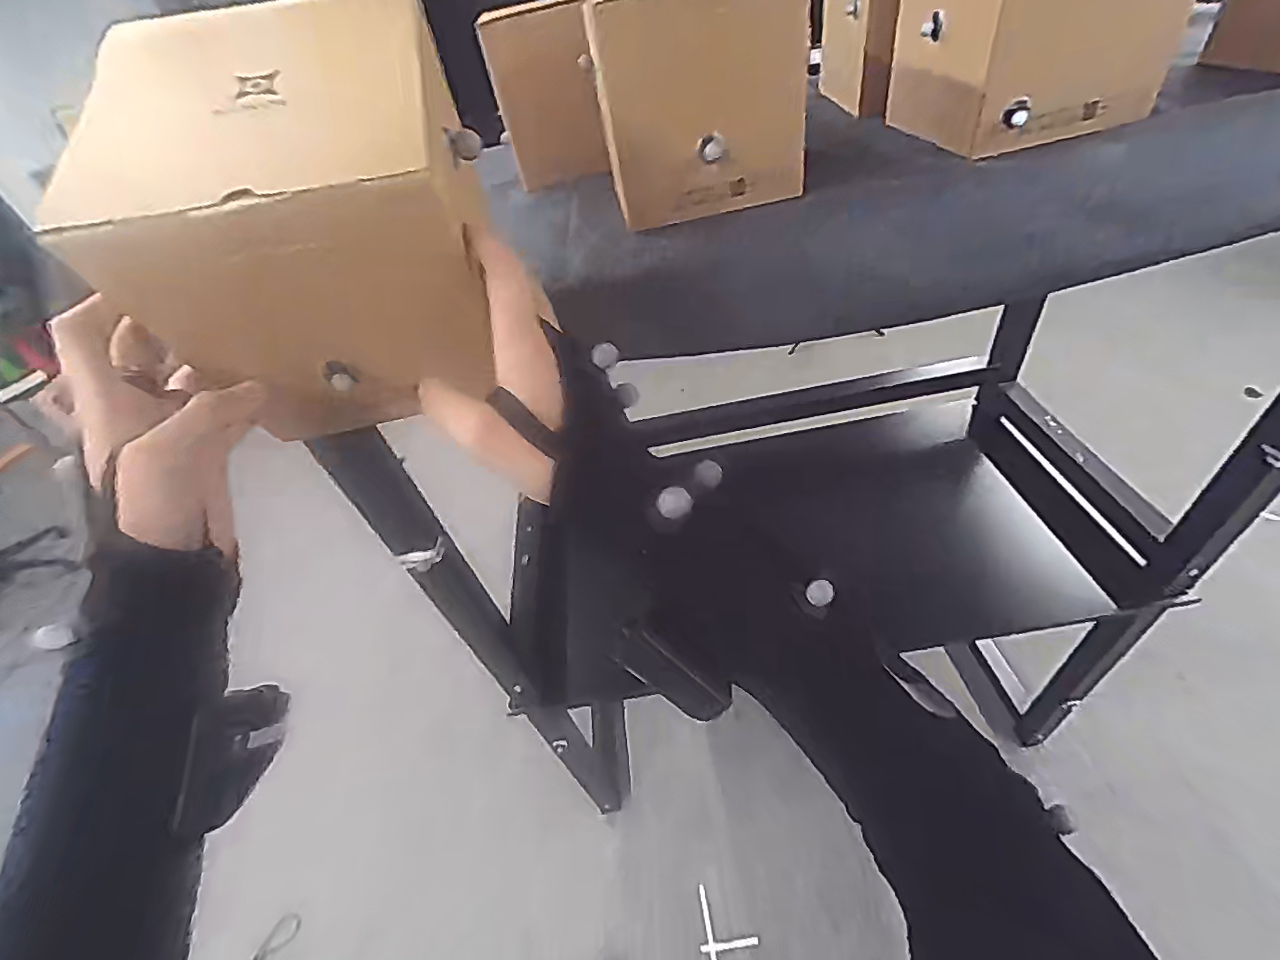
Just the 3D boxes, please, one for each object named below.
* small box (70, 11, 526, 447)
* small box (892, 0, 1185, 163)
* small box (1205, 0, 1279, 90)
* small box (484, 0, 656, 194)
[{"bbox_3d":[-0.177,-0.146,0.342,0.168,0.176,0.179,-12,64,-5],"label":"small box"},{"bbox_3d":[0.364,-0.419,0.510,0.168,0.176,0.179,-12,43,1],"label":"small box"},{"bbox_3d":[0.680,-0.455,0.472,0.168,0.176,0.179,-11,43,3],"label":"small box"},{"bbox_3d":[-0.079,-0.485,0.679,0.179,0.176,0.168,-12,44,0],"label":"small box"}]
